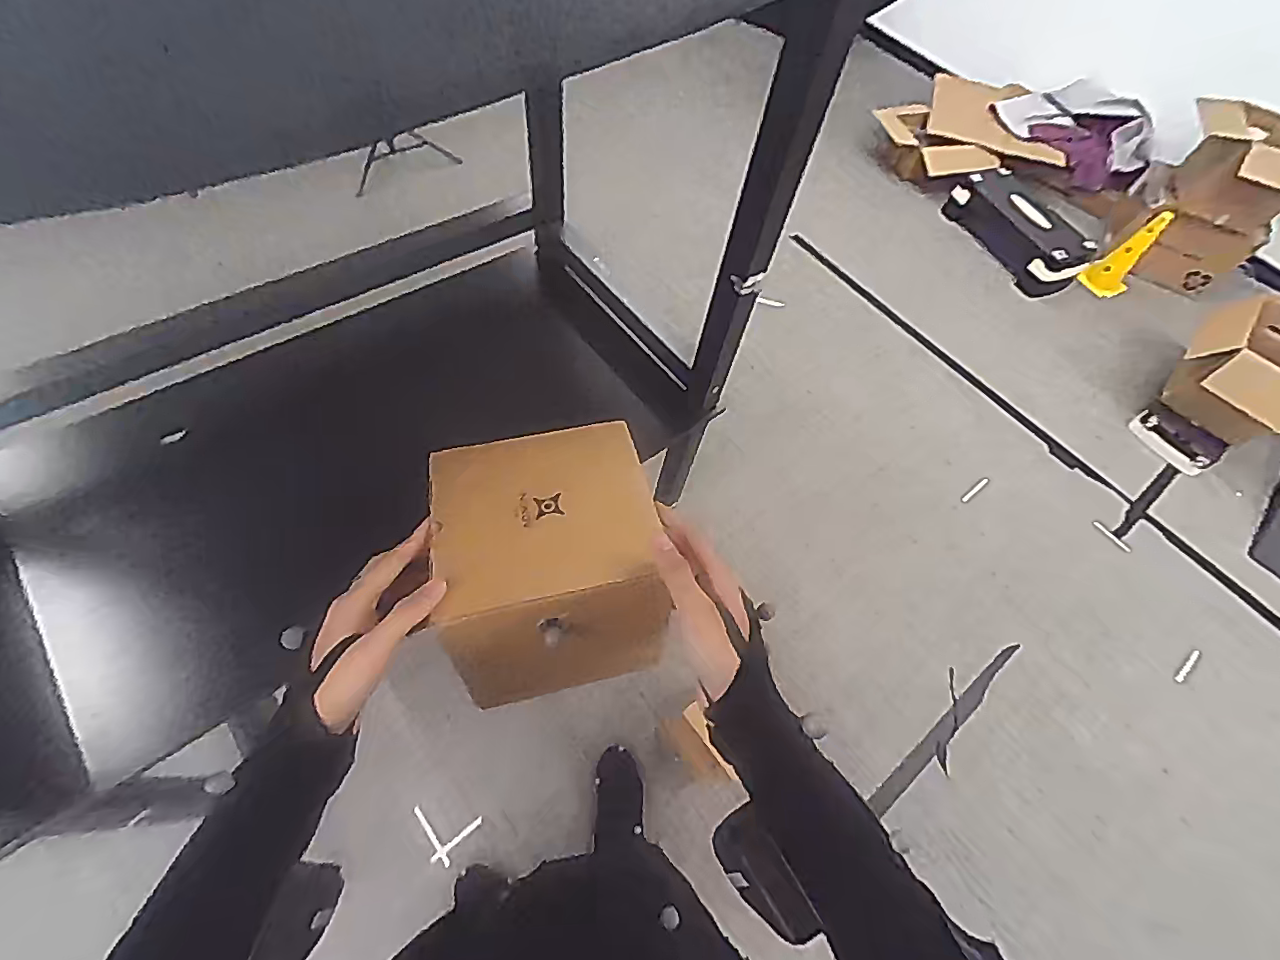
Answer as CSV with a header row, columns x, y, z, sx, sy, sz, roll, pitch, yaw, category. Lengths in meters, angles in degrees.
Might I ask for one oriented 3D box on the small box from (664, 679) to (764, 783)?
x,y,z,sx,sy,sz,roll,pitch,yaw,category
0.181,0.643,1.387,0.179,0.176,0.168,-35,70,-22,small box
